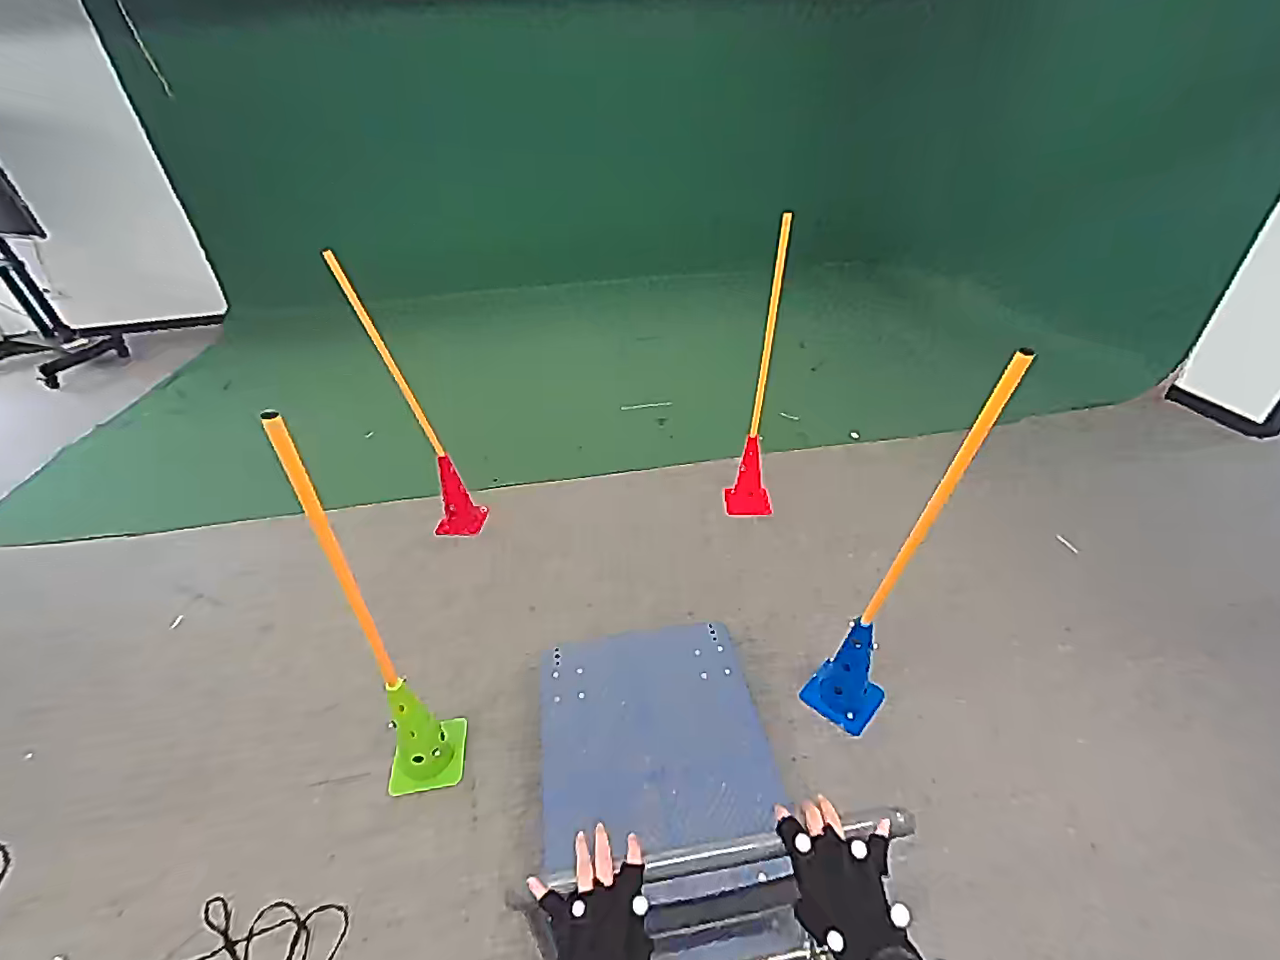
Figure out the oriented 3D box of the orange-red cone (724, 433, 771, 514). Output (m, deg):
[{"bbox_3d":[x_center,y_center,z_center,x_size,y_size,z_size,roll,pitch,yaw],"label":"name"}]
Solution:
[{"bbox_3d":[0.477,-0.044,2.361,0.198,0.360,0.199,-1,37,4],"label":"orange-red cone"}]
